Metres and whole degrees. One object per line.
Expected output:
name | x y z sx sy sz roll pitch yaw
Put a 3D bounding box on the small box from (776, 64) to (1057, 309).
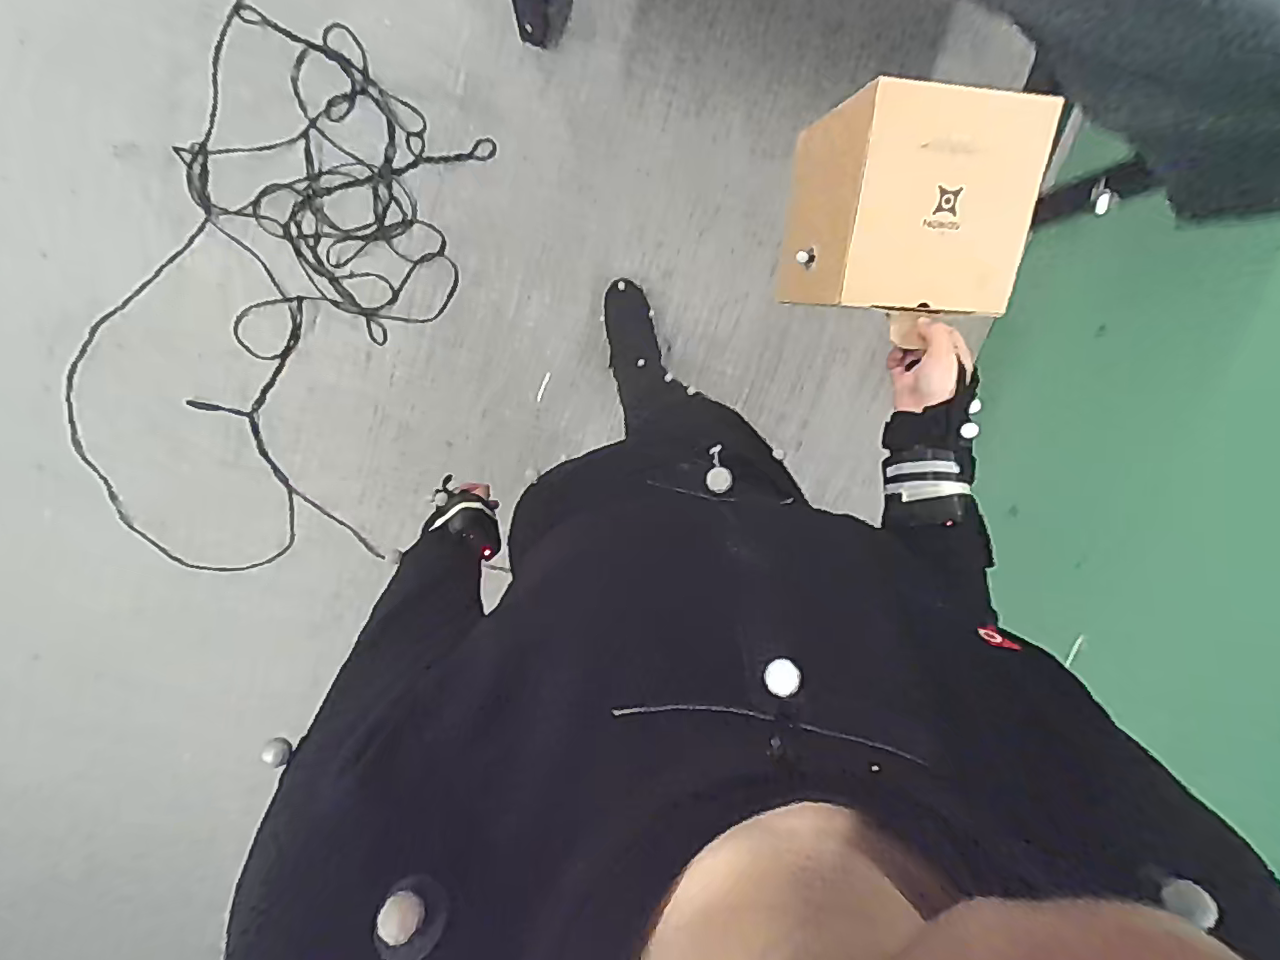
small box | 0.247 -0.267 0.534 0.168 0.176 0.179 0 108 -9
